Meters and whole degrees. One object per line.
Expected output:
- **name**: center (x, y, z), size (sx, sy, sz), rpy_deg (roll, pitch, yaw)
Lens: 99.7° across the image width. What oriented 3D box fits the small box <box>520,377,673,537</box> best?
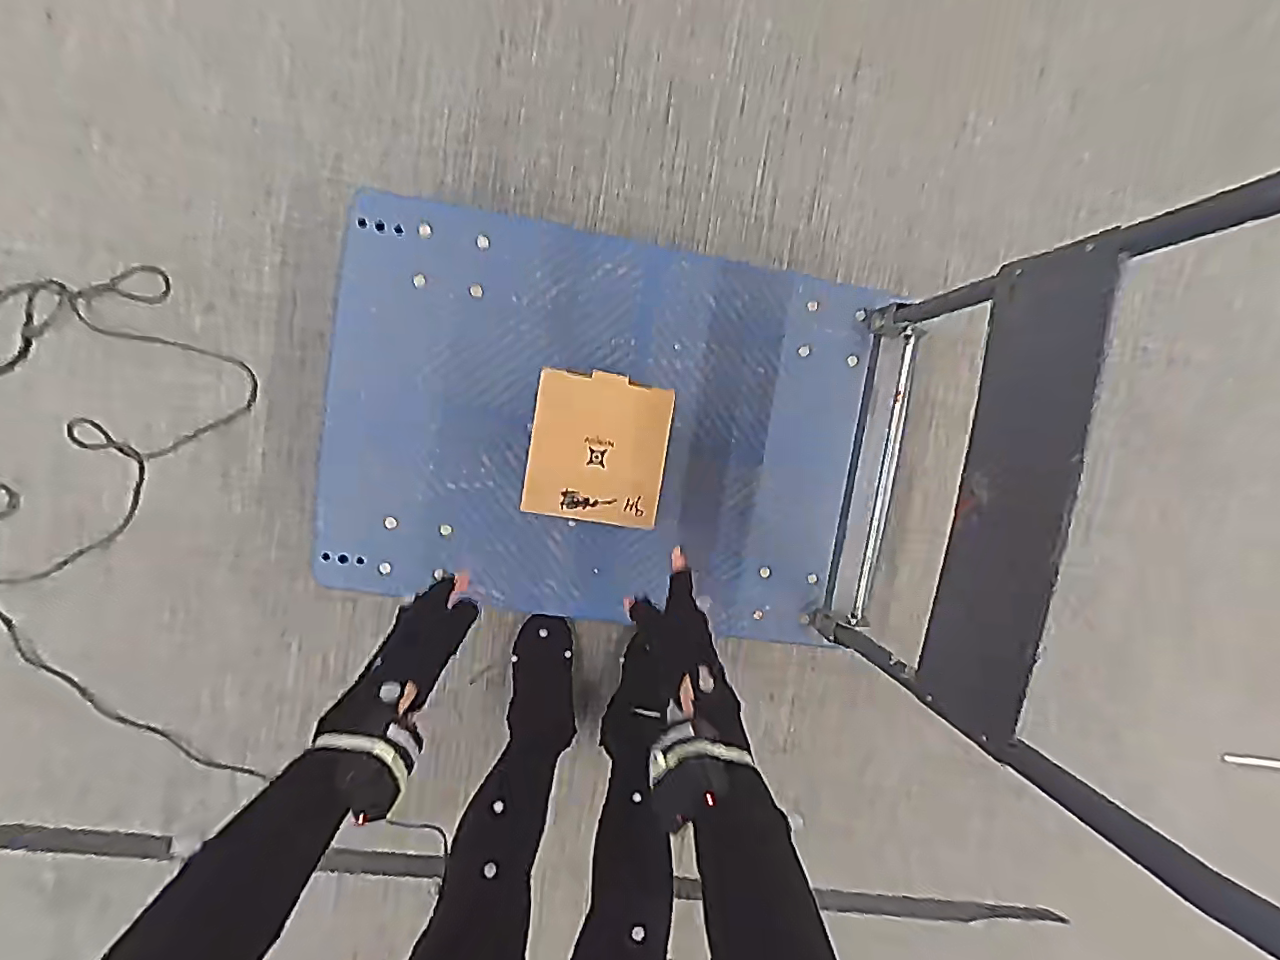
- **small box**: center (-0.061, -0.030, 0.743), size (0.168, 0.176, 0.179), rpy_deg (10, 92, -6)
